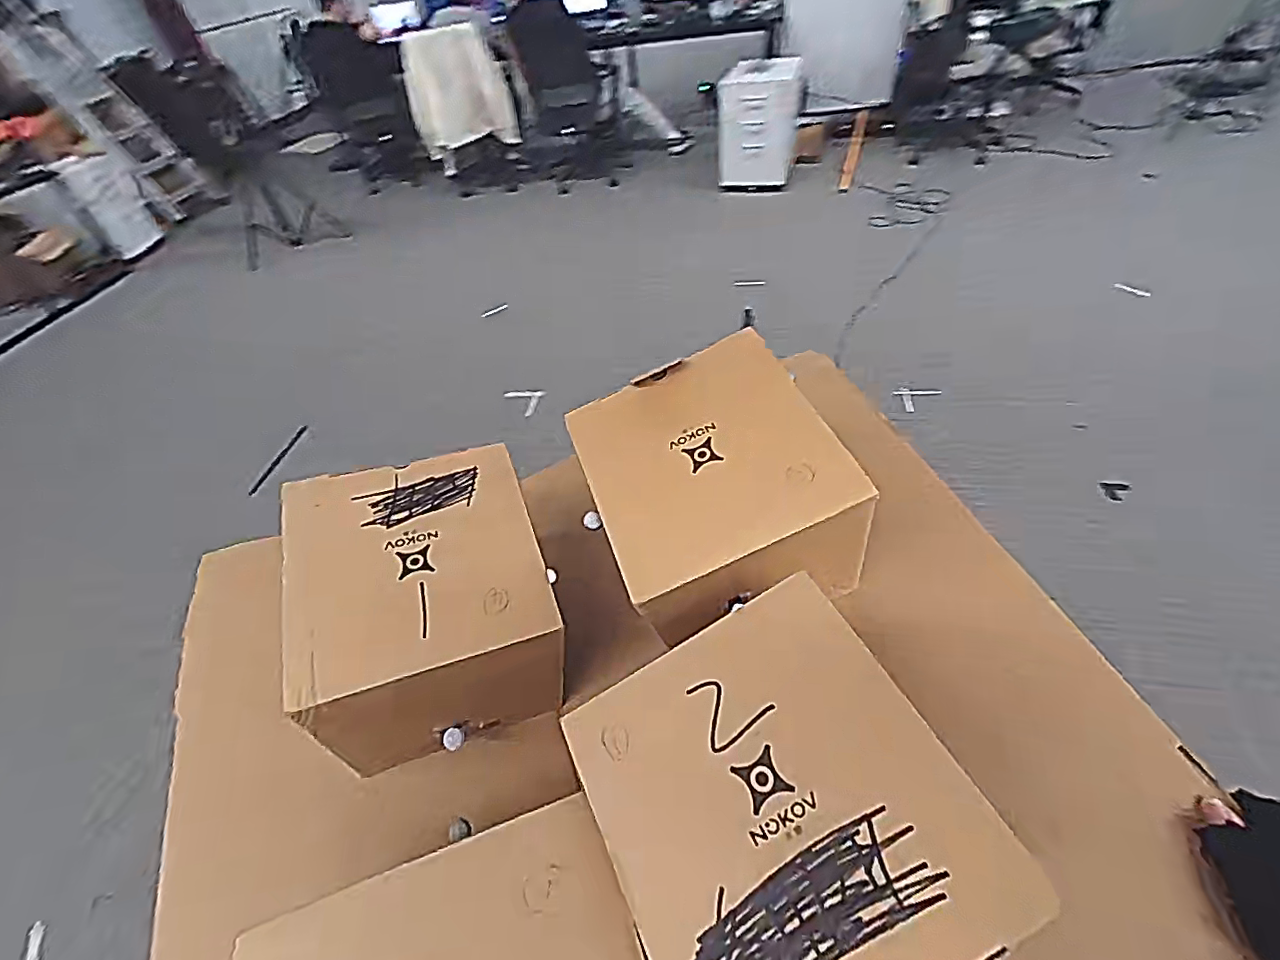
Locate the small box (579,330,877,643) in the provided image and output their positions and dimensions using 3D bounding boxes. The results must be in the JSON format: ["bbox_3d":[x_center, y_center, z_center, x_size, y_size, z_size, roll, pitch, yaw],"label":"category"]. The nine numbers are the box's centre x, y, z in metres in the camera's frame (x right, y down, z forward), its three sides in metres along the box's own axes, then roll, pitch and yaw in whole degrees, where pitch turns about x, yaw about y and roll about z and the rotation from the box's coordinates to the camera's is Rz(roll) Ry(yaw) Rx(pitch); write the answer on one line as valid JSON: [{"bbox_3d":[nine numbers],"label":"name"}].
[{"bbox_3d":[0.072,0.018,0.450,0.168,0.176,0.179,-24,53,2],"label":"small box"}]
